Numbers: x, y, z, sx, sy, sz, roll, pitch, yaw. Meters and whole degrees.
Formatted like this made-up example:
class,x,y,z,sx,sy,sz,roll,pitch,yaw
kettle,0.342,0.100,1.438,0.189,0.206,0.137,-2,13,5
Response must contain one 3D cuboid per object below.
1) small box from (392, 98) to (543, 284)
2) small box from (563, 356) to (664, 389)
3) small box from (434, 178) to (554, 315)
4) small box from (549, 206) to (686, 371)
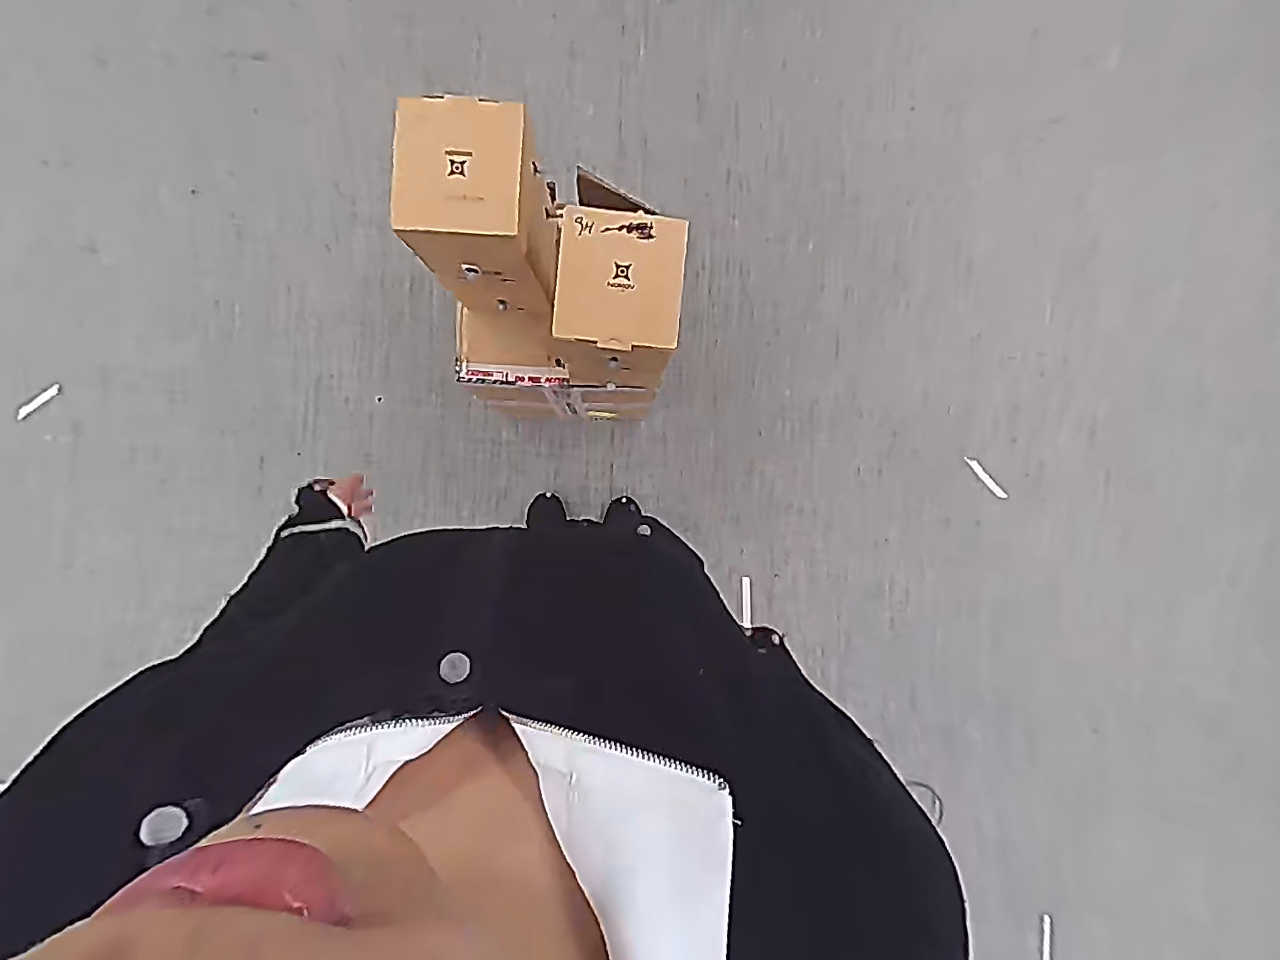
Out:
class,x,y,z,sx,sy,sz,roll,pitch,yaw
small box,-0.236,-0.402,0.777,0.168,0.176,0.179,2,91,0
small box,-0.045,-0.264,0.951,0.168,0.176,0.179,2,91,-4
small box,-0.244,-0.403,0.940,0.168,0.176,0.179,3,90,-2
small box,-0.033,-0.263,0.787,0.168,0.176,0.179,6,91,-5
